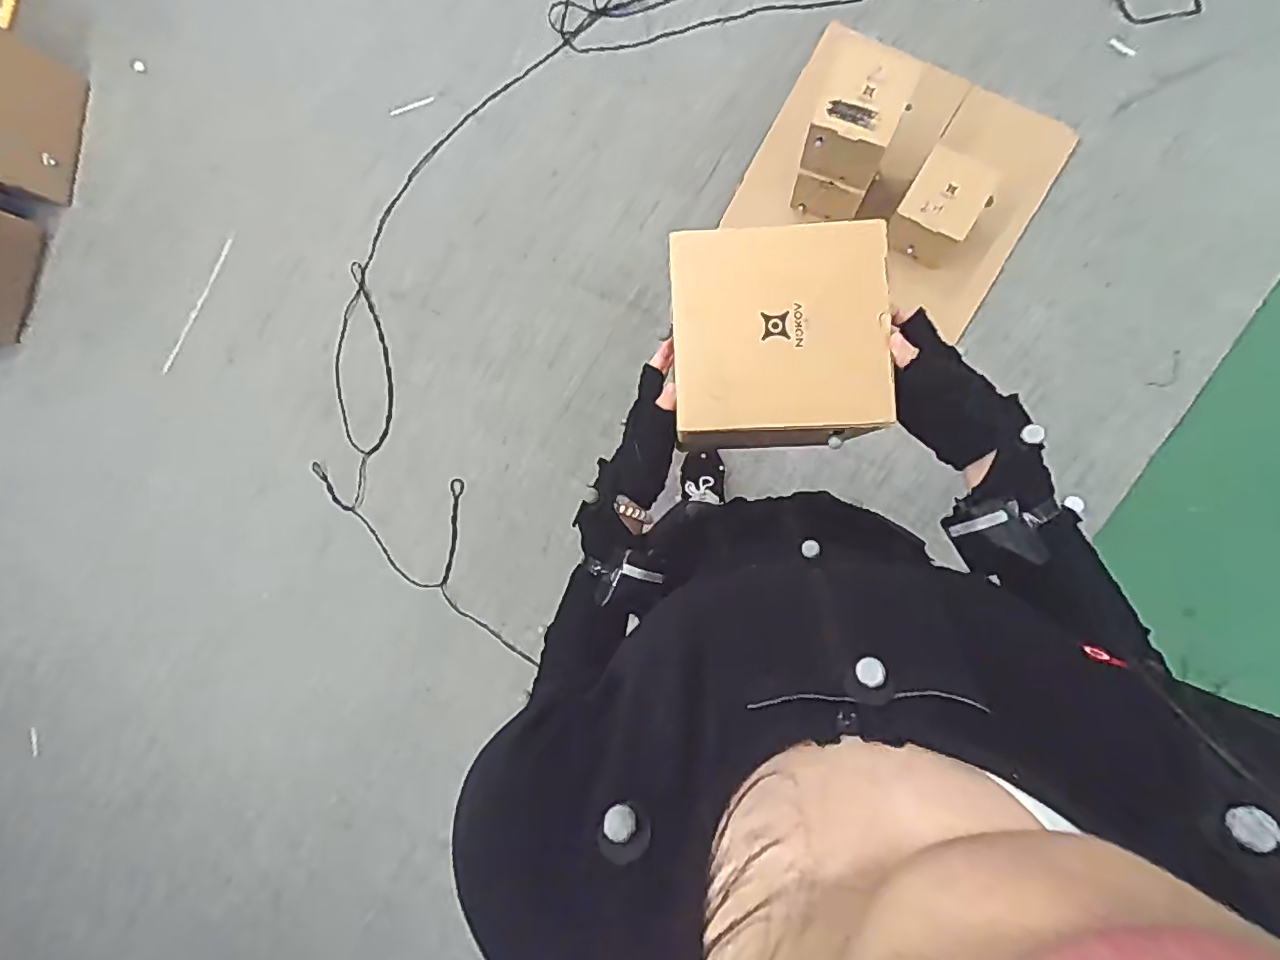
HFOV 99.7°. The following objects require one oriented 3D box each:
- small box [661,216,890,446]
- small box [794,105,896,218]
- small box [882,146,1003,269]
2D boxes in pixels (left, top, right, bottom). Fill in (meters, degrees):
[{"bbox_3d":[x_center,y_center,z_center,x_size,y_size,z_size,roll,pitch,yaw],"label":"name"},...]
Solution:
[{"bbox_3d":[0.111,-0.123,0.510,0.179,0.176,0.168,-2,88,2],"label":"small box"},{"bbox_3d":[0.496,-0.765,1.335,0.168,0.176,0.179,26,94,7],"label":"small box"},{"bbox_3d":[0.716,-0.649,1.307,0.168,0.176,0.179,30,95,9],"label":"small box"}]
